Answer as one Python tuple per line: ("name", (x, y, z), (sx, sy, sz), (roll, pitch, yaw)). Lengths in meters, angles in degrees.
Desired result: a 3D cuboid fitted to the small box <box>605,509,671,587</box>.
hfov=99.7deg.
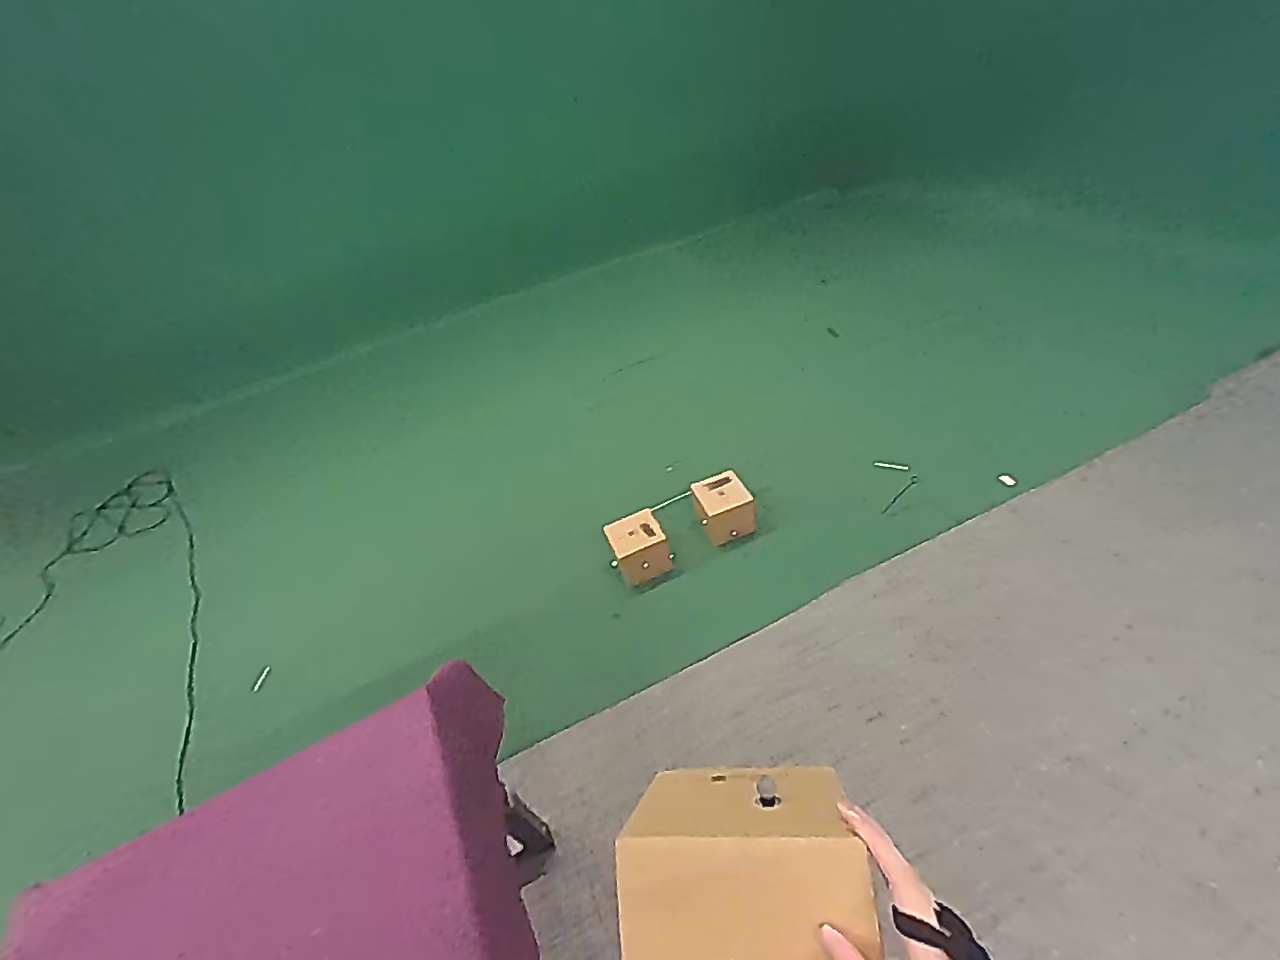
("small box", (-0.002, 0.239, 1.890), (0.179, 0.176, 0.168), (-23, 43, -8))
